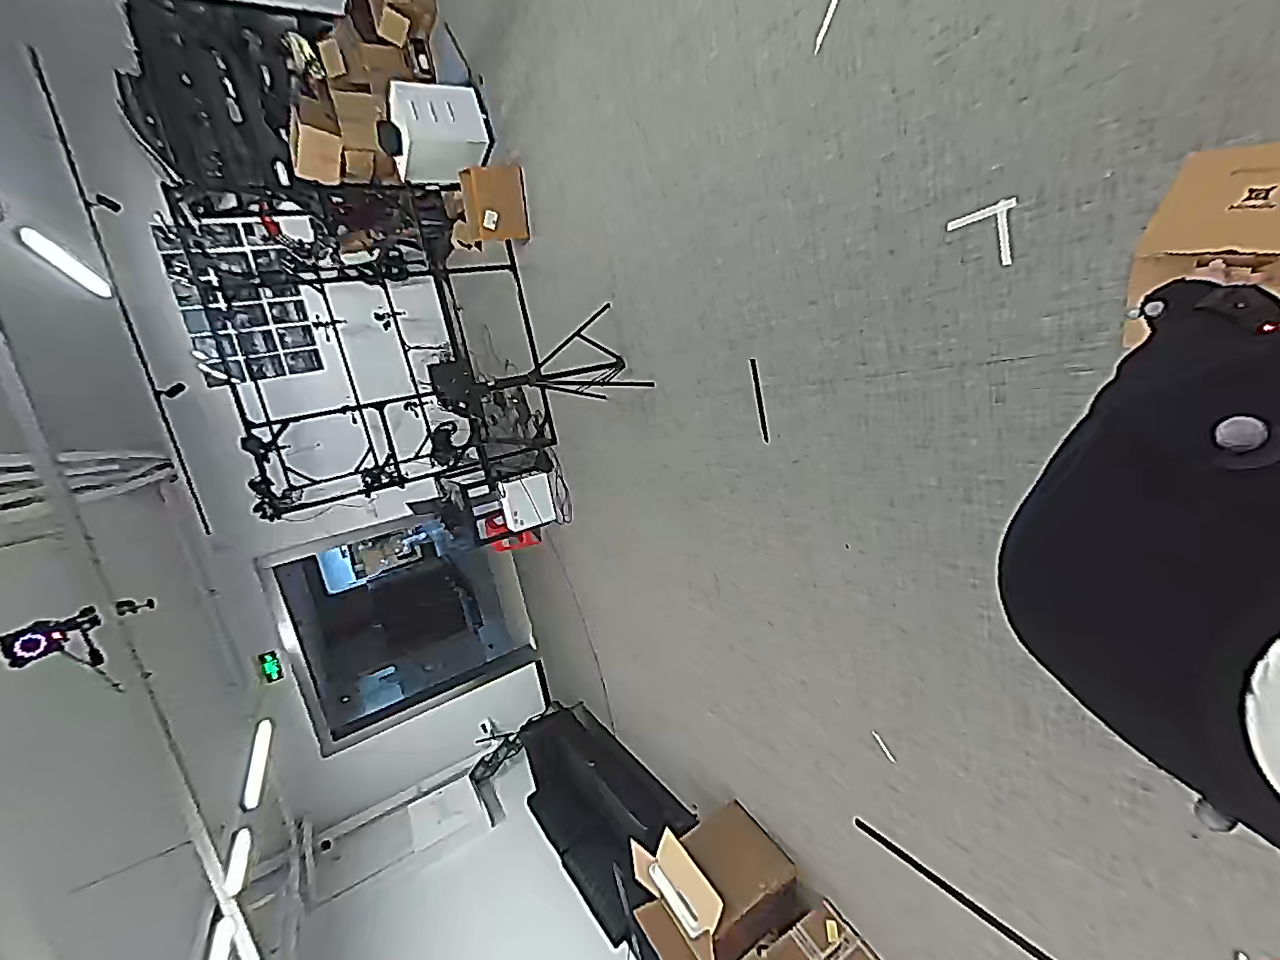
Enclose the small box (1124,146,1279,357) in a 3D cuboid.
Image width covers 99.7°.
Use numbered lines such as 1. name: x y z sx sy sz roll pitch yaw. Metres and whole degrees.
1. small box: 0.736 -0.277 0.667 0.168 0.179 0.176 25 166 44
